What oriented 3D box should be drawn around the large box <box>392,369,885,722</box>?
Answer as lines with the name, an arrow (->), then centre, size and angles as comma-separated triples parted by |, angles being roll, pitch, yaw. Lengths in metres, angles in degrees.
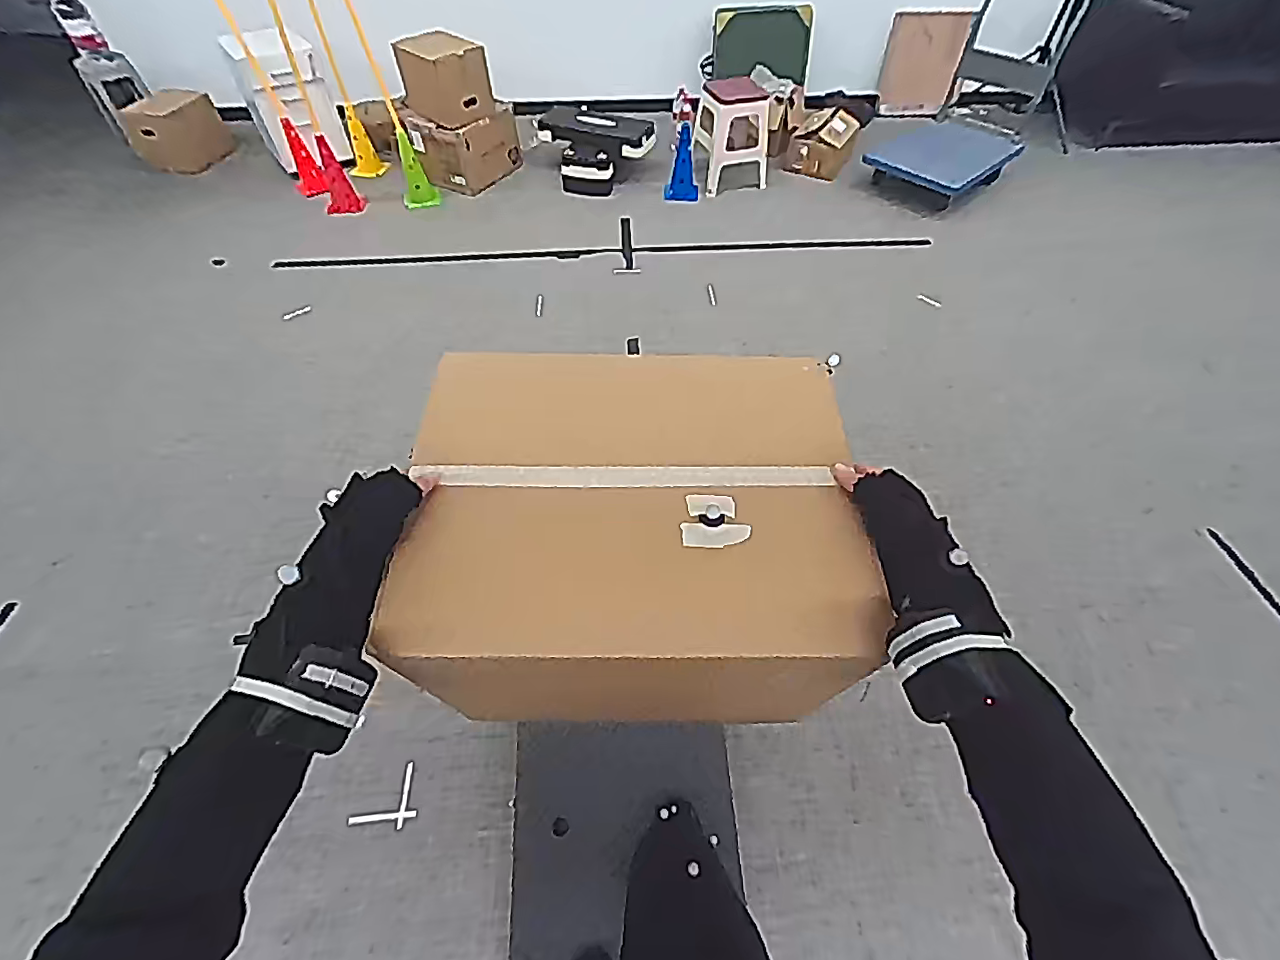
large box -> -0.006, 0.089, 0.632 | 0.408, 0.320, 0.320 | 1, 57, -1
